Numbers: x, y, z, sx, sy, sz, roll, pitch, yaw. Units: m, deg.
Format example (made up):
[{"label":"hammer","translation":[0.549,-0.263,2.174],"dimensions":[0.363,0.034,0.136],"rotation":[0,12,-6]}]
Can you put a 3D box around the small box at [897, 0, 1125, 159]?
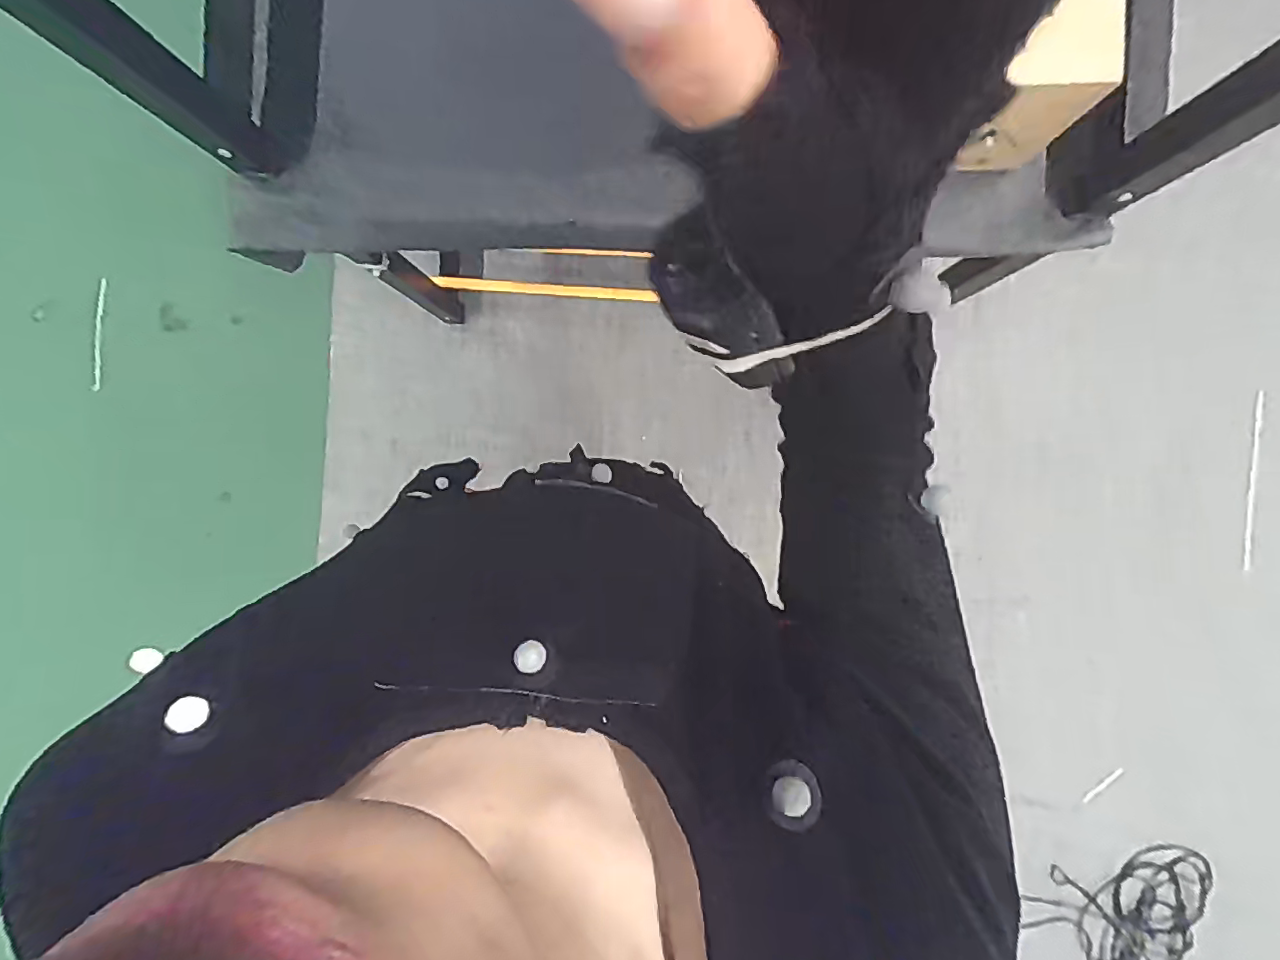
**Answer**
[{"label":"small box","translation":[0.427,-0.512,0.648],"dimensions":[0.168,0.176,0.179],"rotation":[0,91,1]}]
